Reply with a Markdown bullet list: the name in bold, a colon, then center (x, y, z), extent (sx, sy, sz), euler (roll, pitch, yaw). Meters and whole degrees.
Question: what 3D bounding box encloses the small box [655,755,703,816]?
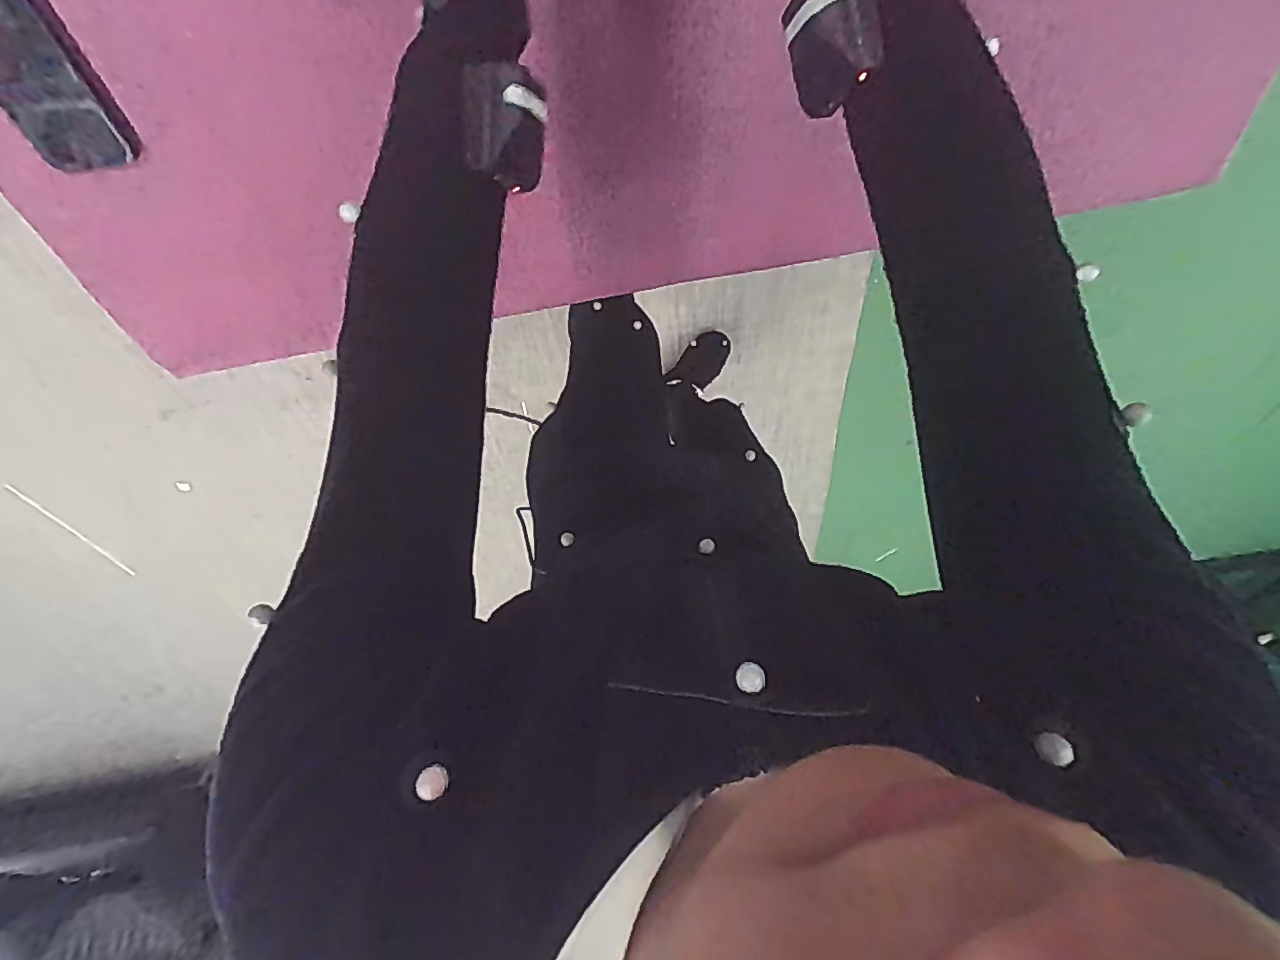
- **small box**: center (0.153, 1.221, 2.165), extent (0.168, 0.176, 0.179), euler (-7, 135, -4)
